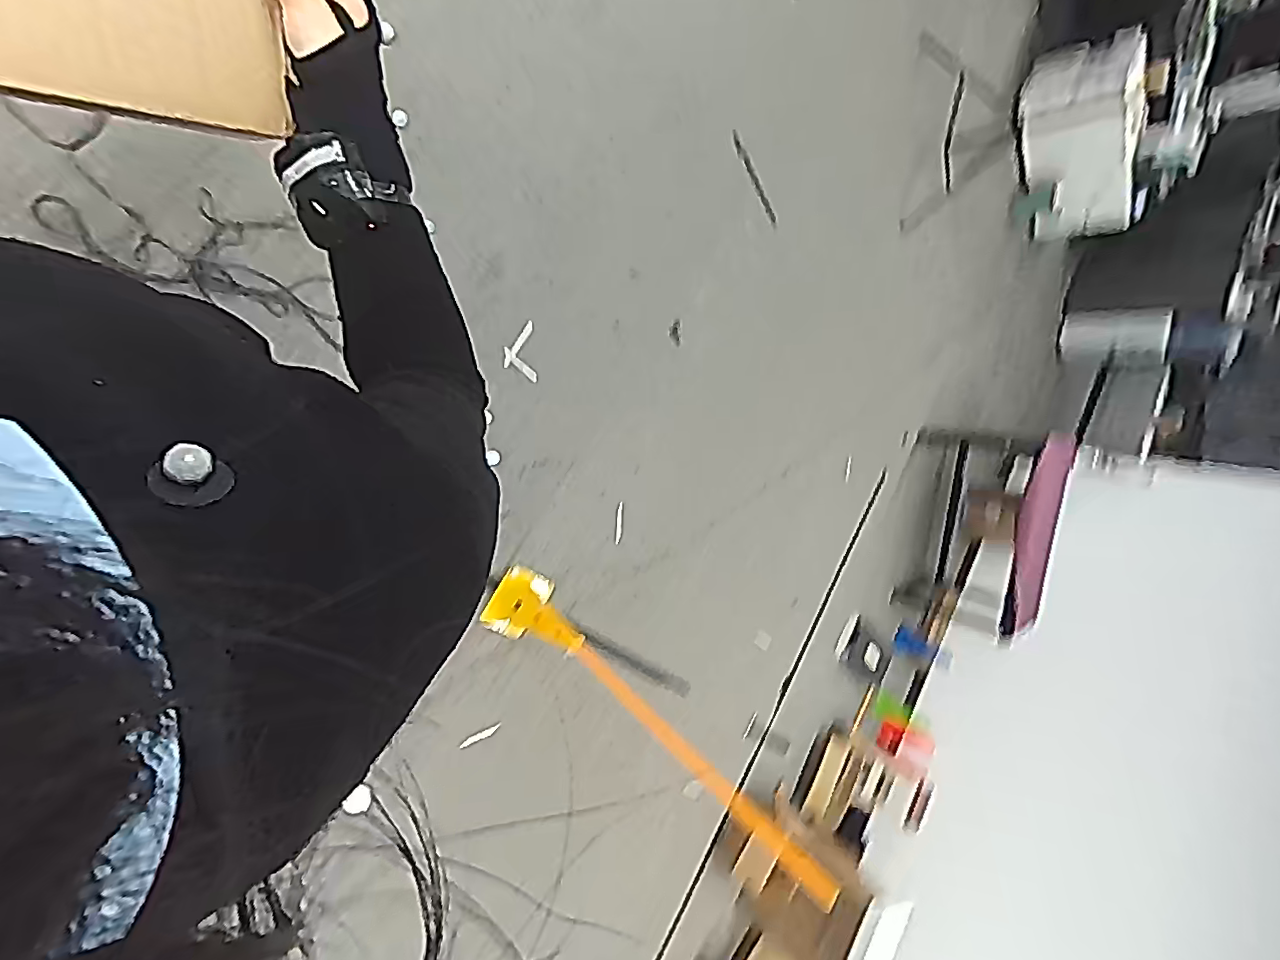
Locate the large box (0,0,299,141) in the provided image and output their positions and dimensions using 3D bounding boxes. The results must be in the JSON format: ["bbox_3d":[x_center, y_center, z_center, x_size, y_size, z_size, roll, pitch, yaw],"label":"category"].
[{"bbox_3d":[-0.497,-0.448,0.363,0.408,0.320,0.320,-9,121,-36],"label":"large box"}]
